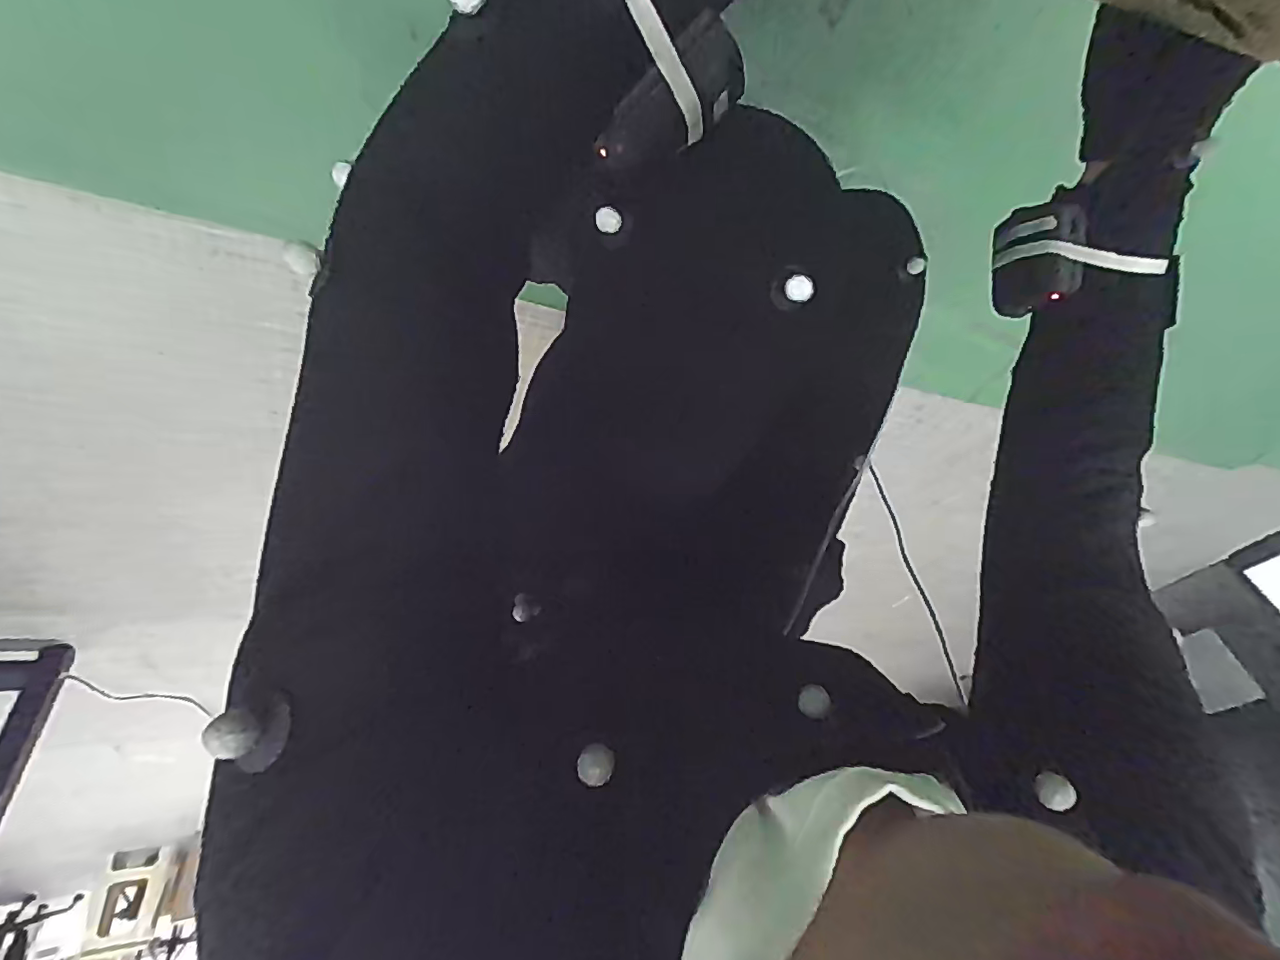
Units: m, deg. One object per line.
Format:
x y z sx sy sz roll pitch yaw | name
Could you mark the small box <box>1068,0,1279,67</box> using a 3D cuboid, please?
0.246 -0.329 0.226 0.168 0.176 0.179 7 138 -23 | small box
